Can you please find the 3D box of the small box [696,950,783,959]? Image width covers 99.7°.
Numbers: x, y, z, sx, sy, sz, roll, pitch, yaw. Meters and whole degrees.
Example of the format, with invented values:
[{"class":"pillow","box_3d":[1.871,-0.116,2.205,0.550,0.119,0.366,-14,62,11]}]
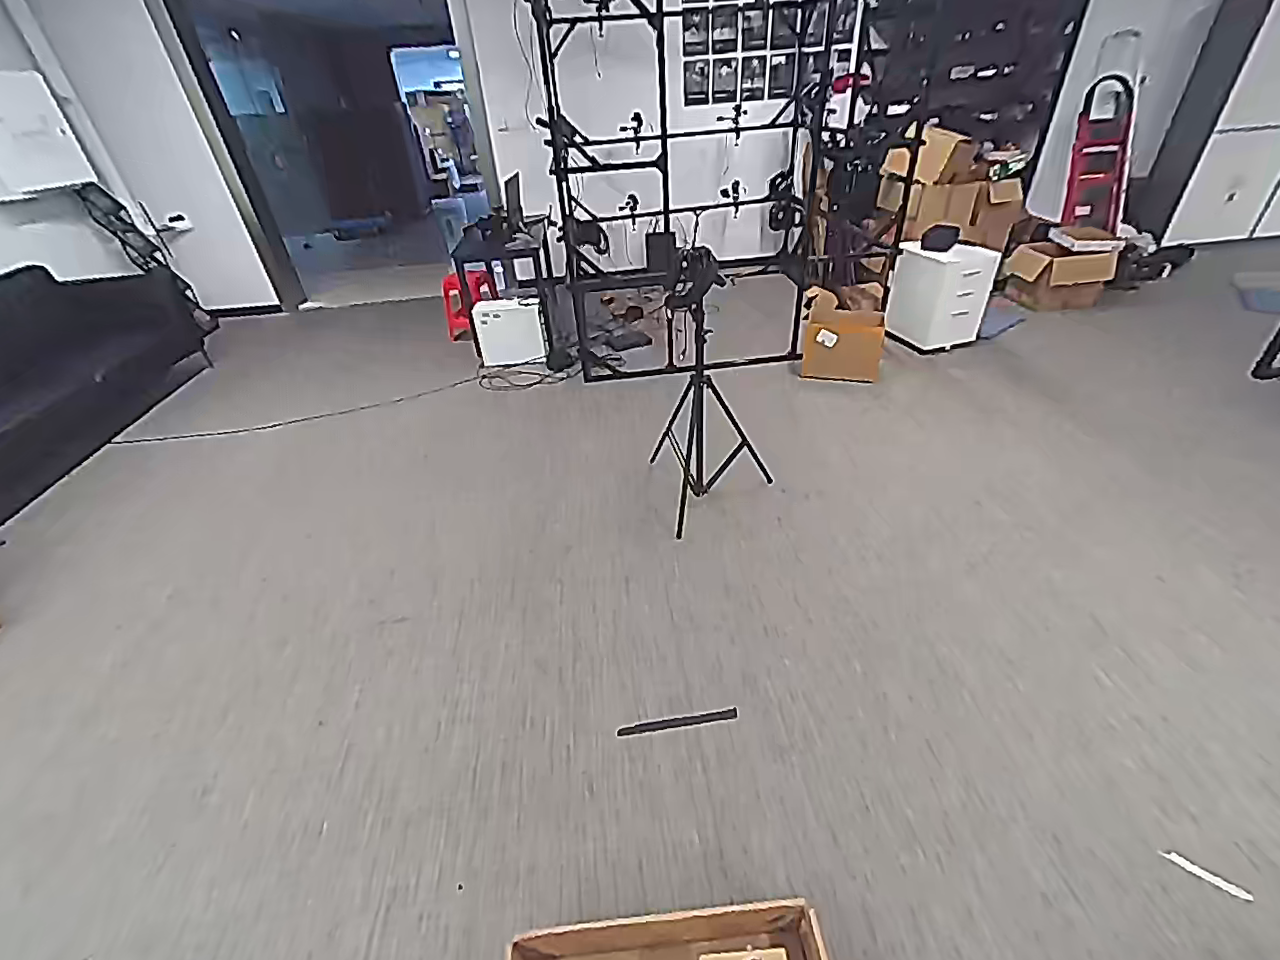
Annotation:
[{"class":"small box","box_3d":[0.195,1.003,0.994,0.168,0.176,0.179,-5,37,1]}]
